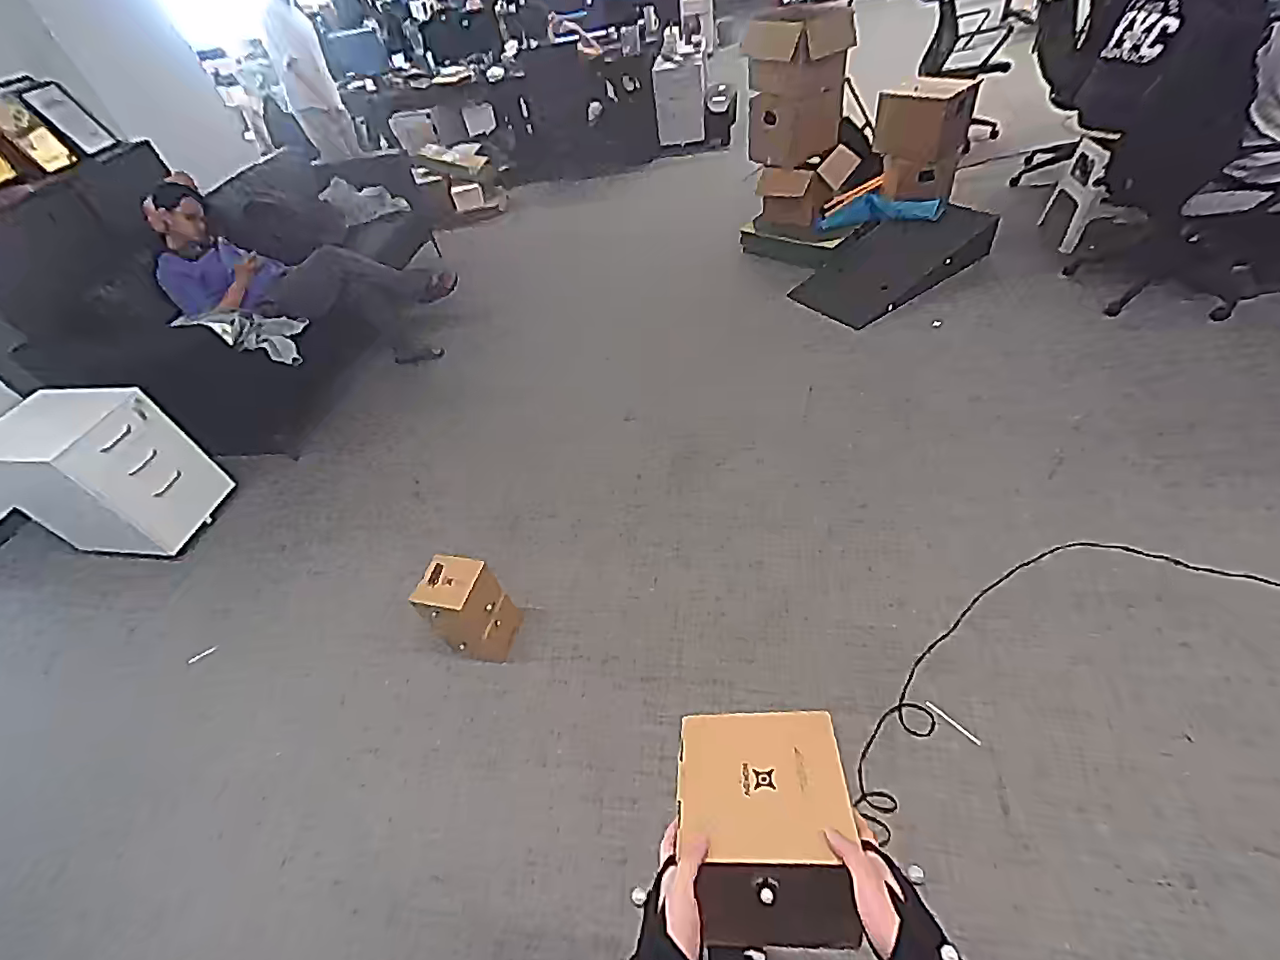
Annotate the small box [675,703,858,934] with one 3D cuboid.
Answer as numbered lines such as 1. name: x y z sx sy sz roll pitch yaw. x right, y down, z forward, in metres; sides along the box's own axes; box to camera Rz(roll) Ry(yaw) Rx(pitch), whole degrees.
1. small box: 0.140 0.381 0.618 0.179 0.176 0.168 -5 27 9

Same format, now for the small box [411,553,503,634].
1. small box: -0.541 0.343 1.621 0.179 0.176 0.168 5 48 16

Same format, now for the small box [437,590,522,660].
1. small box: -0.507 0.459 1.734 0.179 0.176 0.168 3 47 16
